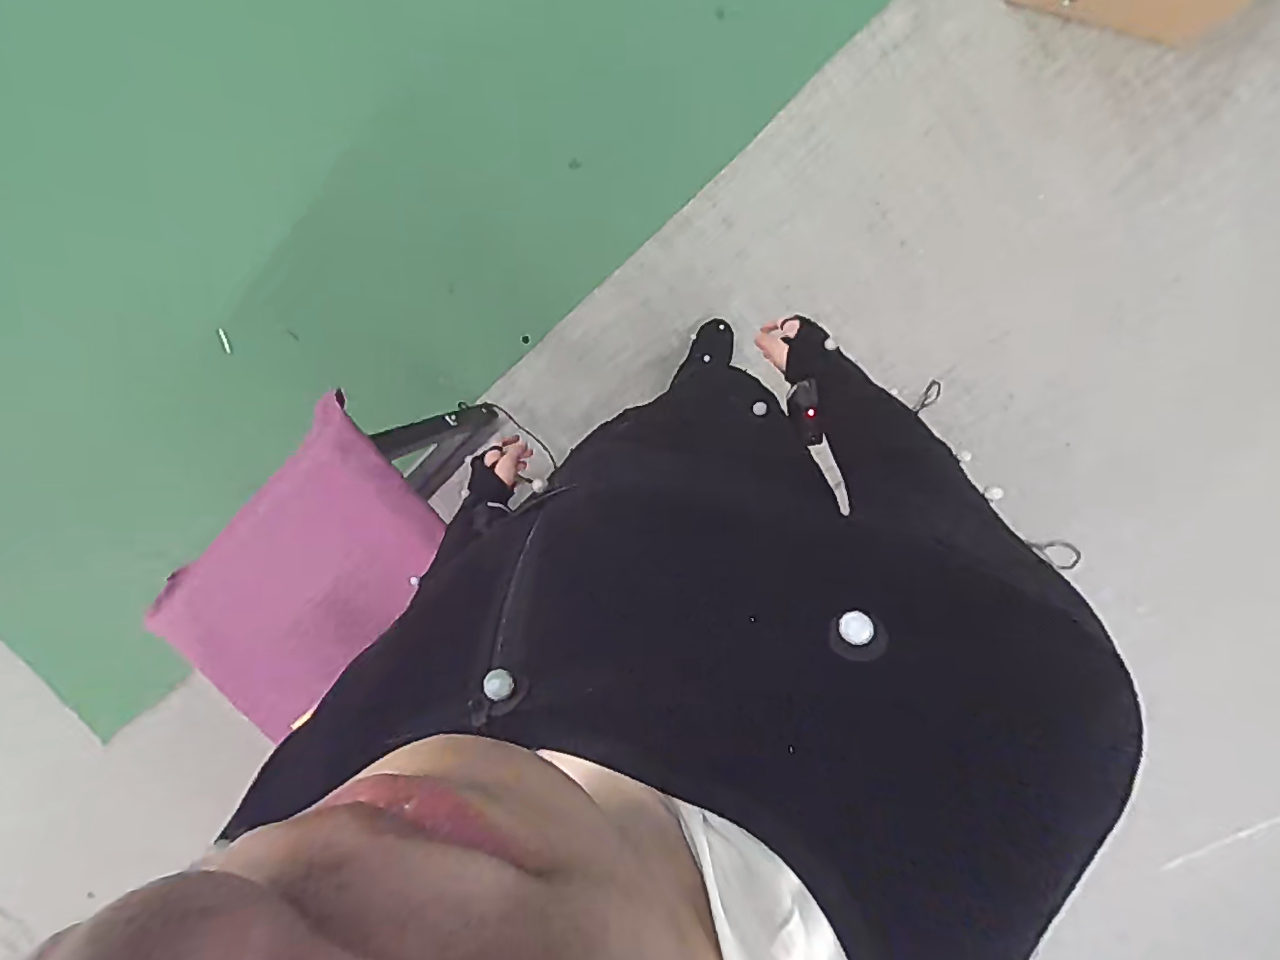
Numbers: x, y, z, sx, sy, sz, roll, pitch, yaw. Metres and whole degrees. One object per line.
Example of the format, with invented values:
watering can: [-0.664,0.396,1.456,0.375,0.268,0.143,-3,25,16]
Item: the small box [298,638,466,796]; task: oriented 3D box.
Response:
small box: [-0.458,0.416,0.984,0.168,0.176,0.179,-39,97,15]
